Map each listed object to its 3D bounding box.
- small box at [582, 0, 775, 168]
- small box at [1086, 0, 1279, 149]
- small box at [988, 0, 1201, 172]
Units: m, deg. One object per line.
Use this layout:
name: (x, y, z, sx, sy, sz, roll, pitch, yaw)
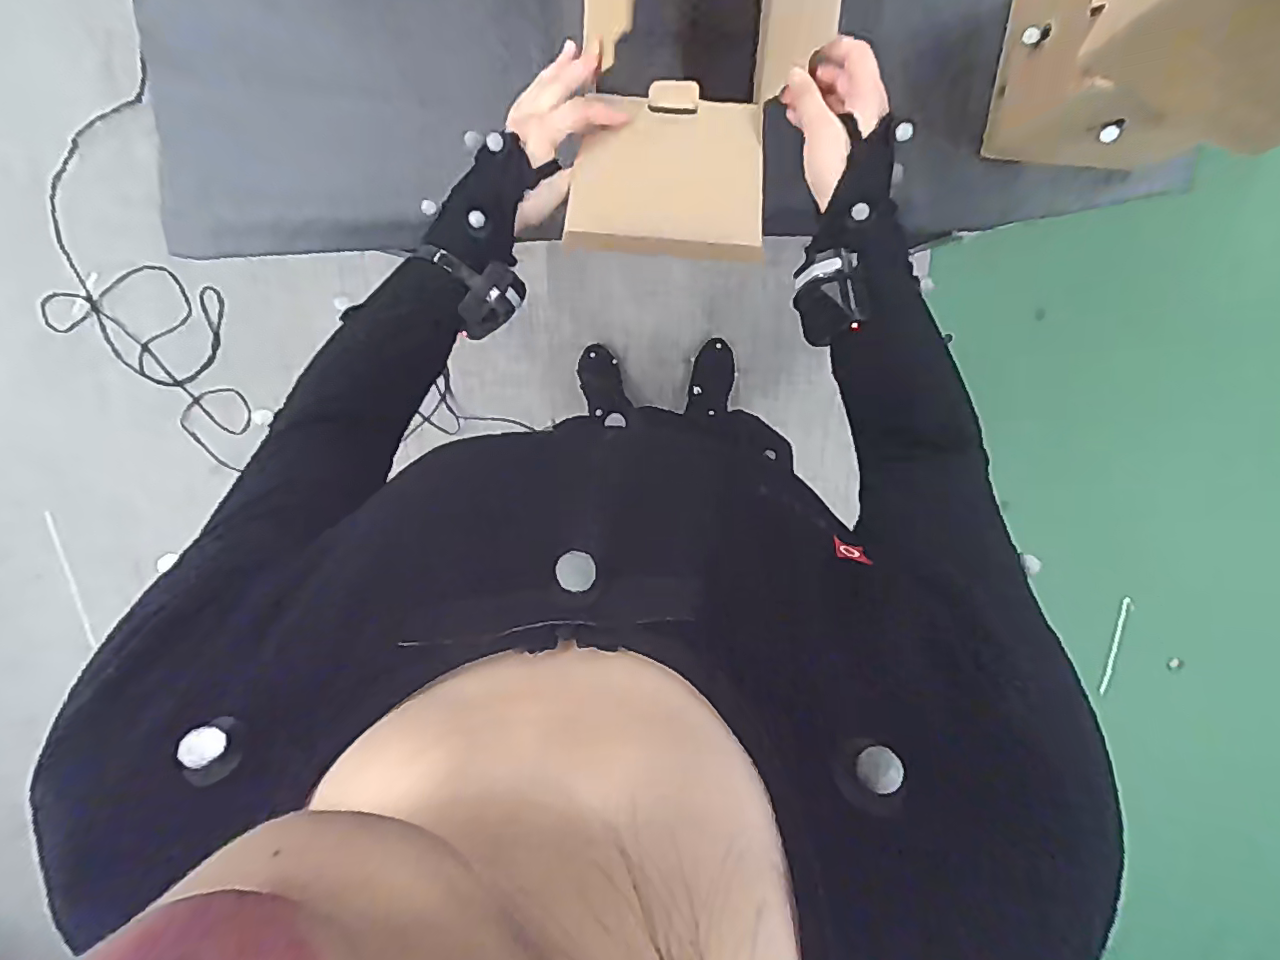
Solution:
small box: (0.037, -0.432, 0.540, 0.168, 0.176, 0.179, 3, 103, 0)
small box: (0.466, -0.359, 0.358, 0.179, 0.176, 0.168, 26, 103, -3)
small box: (0.473, -0.412, 0.513, 0.179, 0.176, 0.168, 6, 103, 3)
